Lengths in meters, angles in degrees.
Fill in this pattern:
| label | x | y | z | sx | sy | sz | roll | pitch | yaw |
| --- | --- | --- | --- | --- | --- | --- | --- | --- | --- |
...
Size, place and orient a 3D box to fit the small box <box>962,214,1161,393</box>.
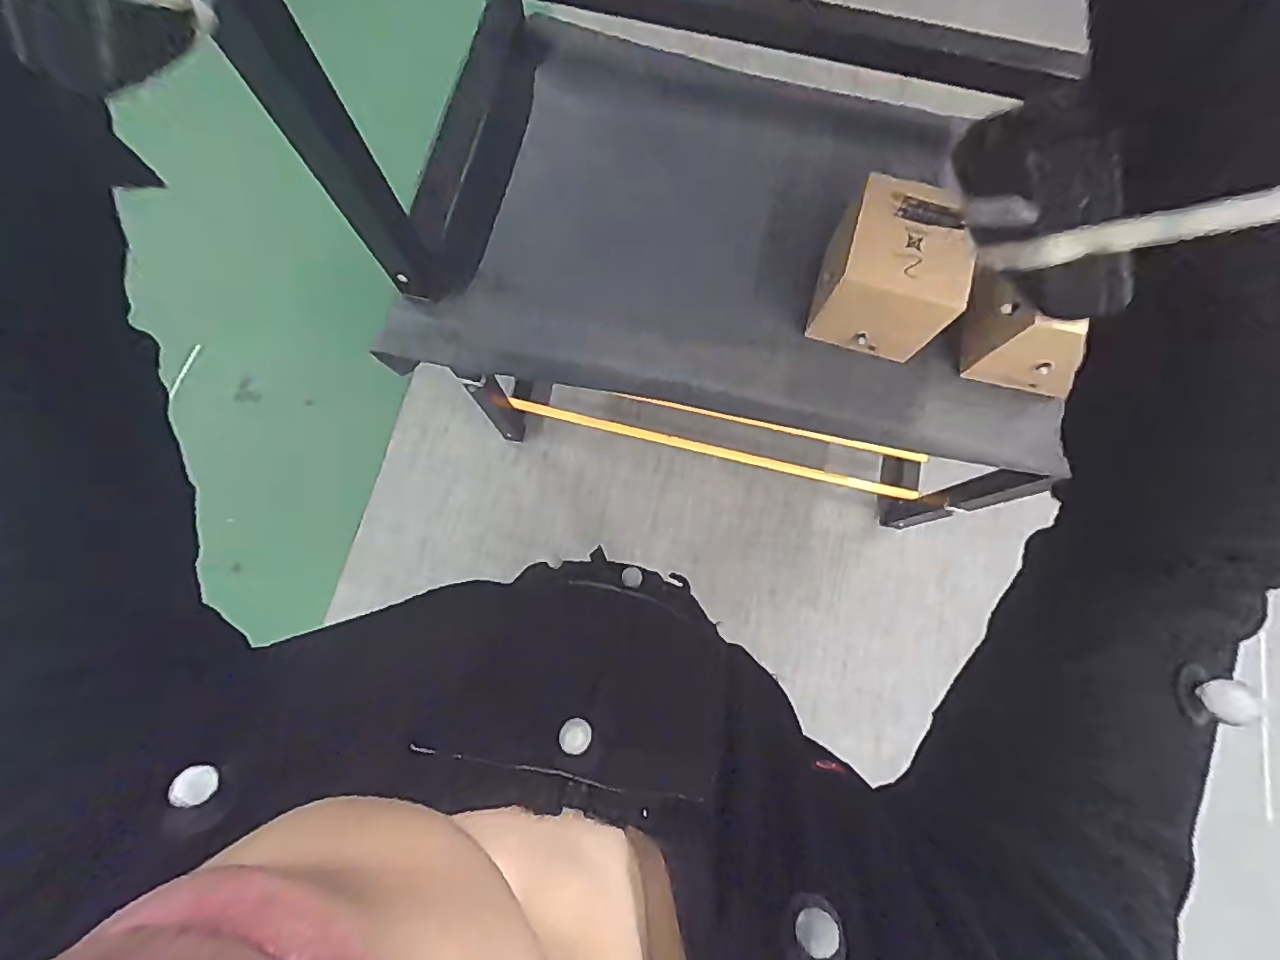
| label | x | y | z | sx | sy | sz | roll | pitch | yaw |
| --- | --- | --- | --- | --- | --- | --- | --- | --- | --- |
| small box | 0.607 | -0.248 | 0.798 | 0.168 | 0.176 | 0.179 | 13 | 76 | 1 |
